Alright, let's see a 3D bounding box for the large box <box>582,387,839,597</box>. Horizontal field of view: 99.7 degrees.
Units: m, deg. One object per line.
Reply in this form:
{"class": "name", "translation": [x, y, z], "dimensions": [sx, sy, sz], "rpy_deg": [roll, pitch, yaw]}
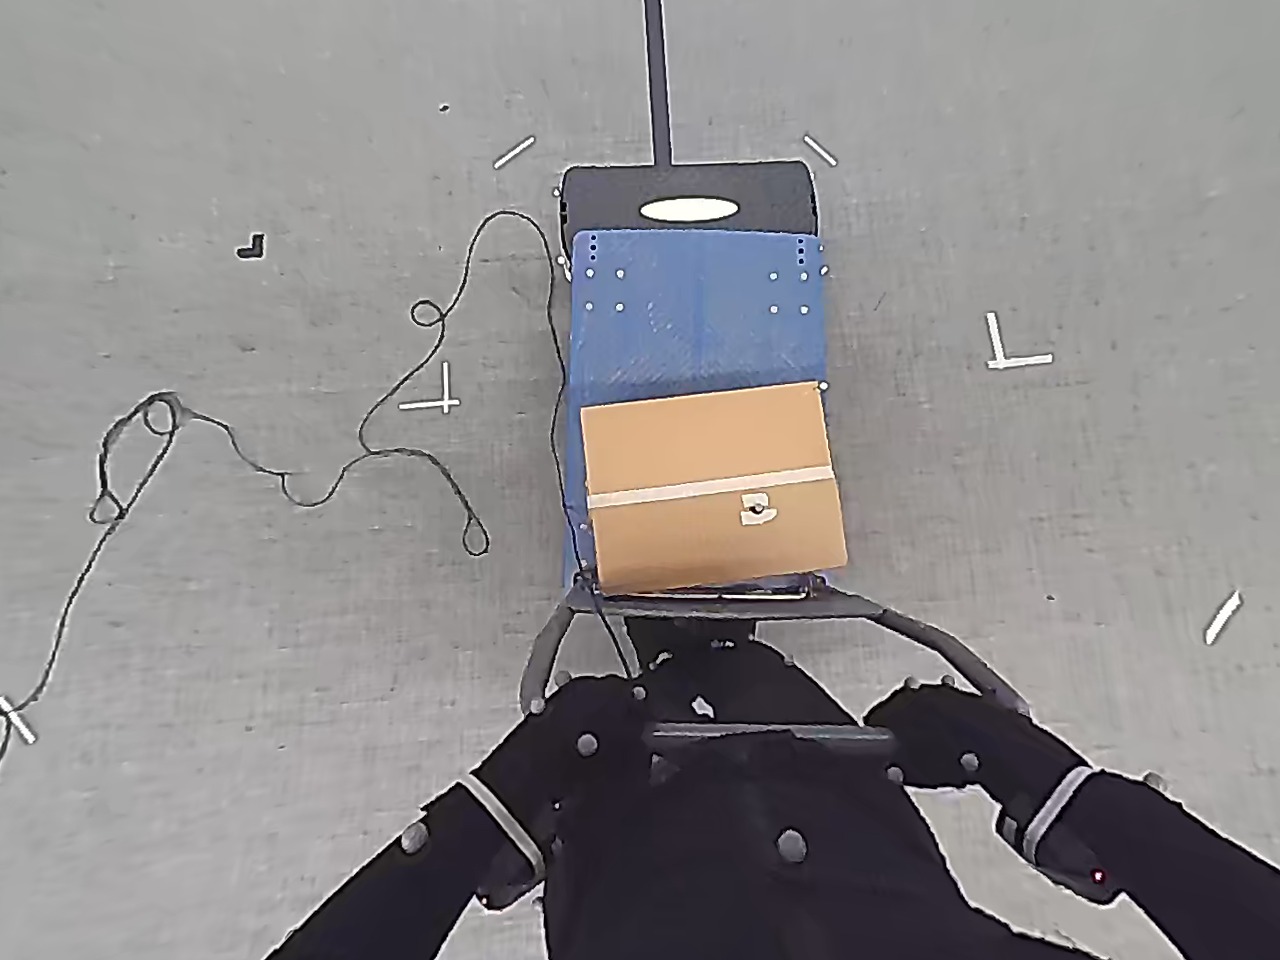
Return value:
{"class": "large box", "translation": [0.112, 0.034, 1.055], "dimensions": [0.408, 0.320, 0.320], "rpy_deg": [-7, 84, -3]}
